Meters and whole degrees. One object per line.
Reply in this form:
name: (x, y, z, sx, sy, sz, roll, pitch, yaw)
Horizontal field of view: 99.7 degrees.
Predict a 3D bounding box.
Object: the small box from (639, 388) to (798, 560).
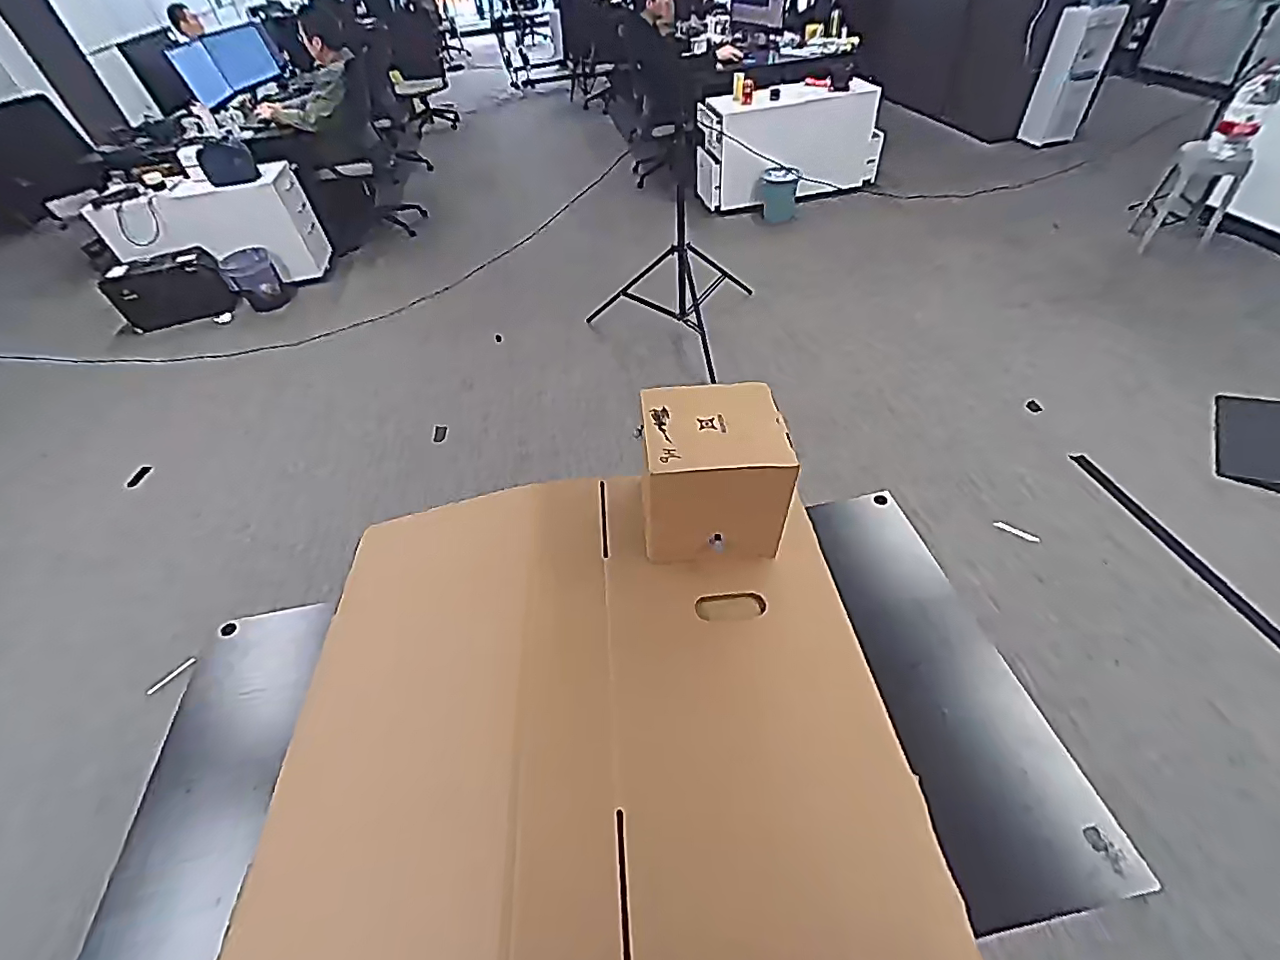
small box: (0.091, -0.006, 0.731, 0.179, 0.176, 0.168, -3, 44, -3)
